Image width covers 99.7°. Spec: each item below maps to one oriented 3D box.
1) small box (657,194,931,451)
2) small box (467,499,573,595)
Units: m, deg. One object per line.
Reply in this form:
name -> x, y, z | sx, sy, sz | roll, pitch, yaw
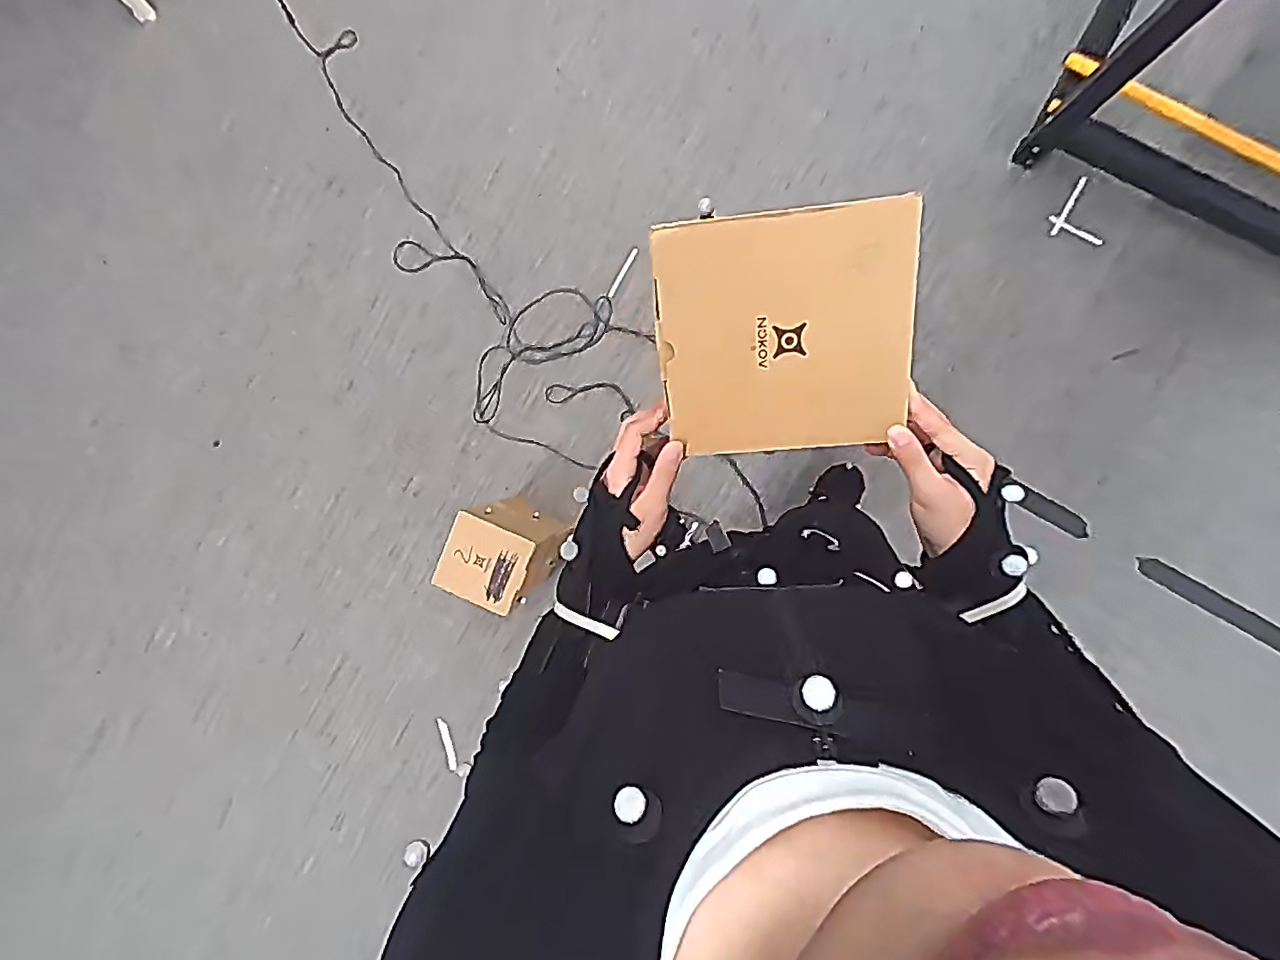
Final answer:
small box -> 0.114, -0.134, 0.451 | 0.179, 0.176, 0.168 | -3, 113, 10
small box -> -0.285, 0.155, 1.332 | 0.179, 0.176, 0.168 | 28, 94, 4
